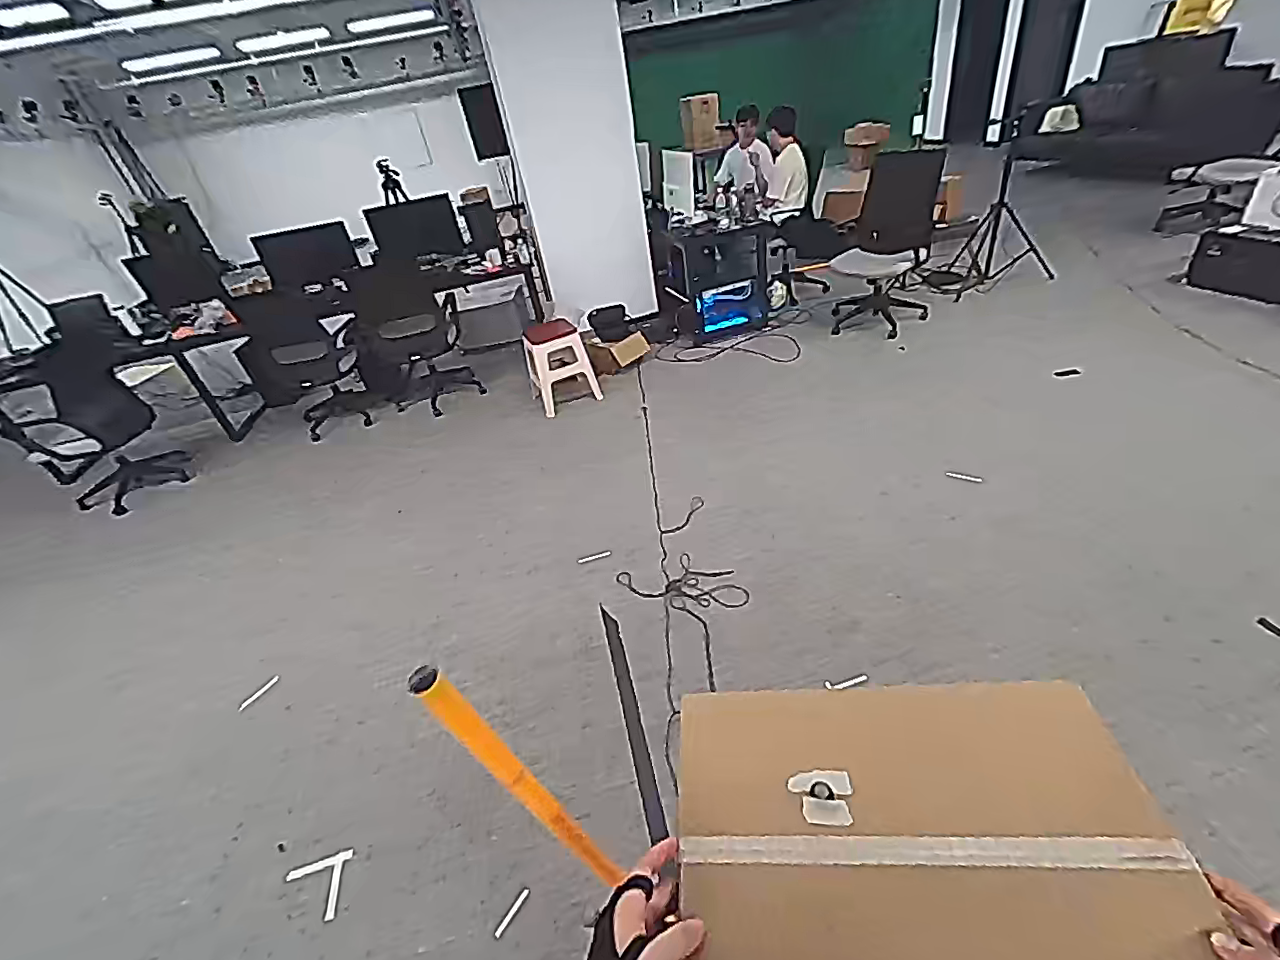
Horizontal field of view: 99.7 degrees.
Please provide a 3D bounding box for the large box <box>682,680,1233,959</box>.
[{"bbox_3d":[0.268,0.445,0.562,0.408,0.320,0.320,-8,35,10],"label":"large box"}]
